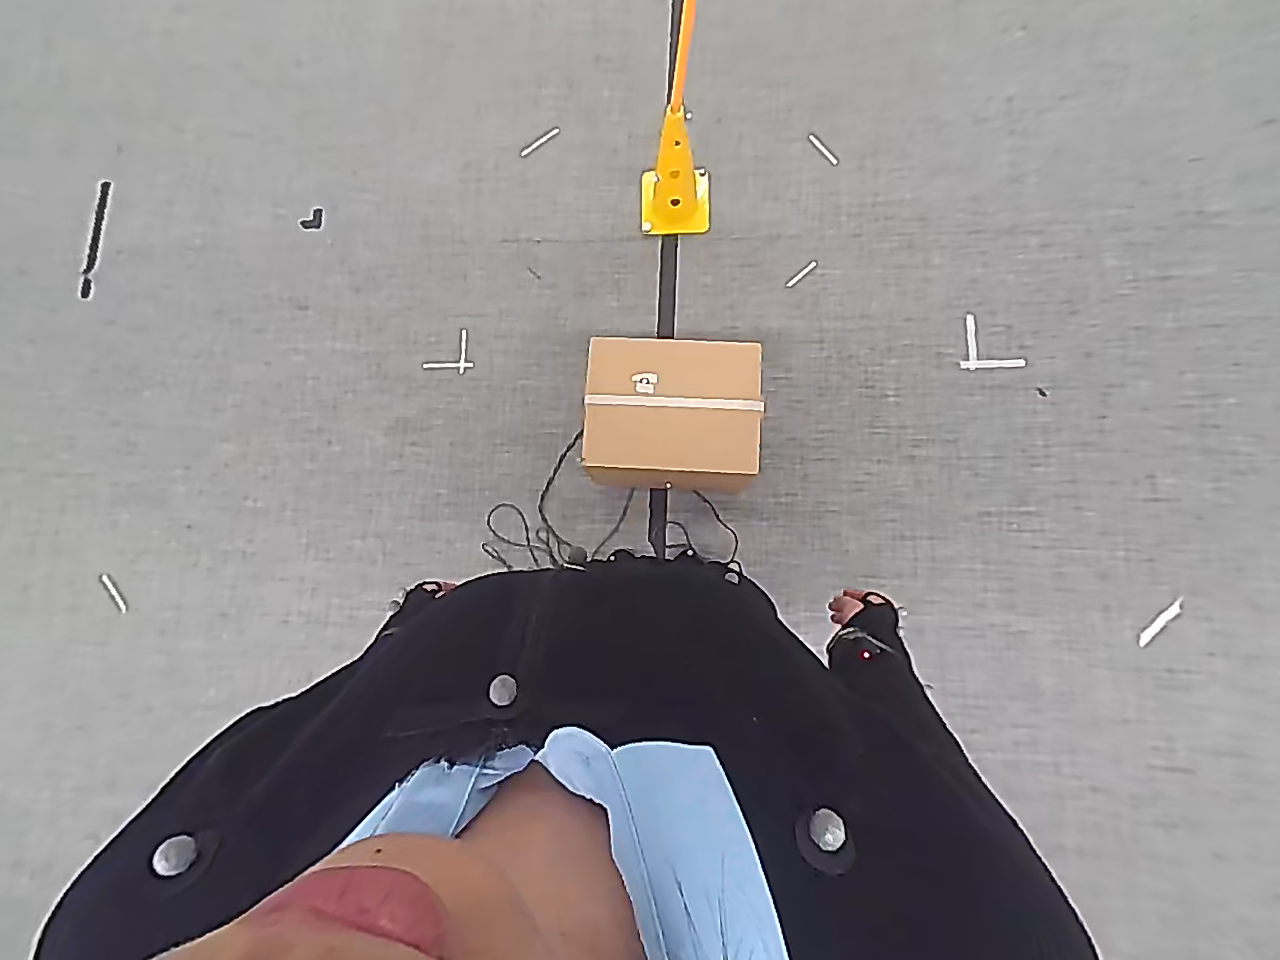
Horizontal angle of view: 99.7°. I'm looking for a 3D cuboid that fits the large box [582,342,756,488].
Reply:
[{"bbox_3d":[0.078,-0.152,1.401,0.408,0.320,0.320,2,80,3],"label":"large box"}]
